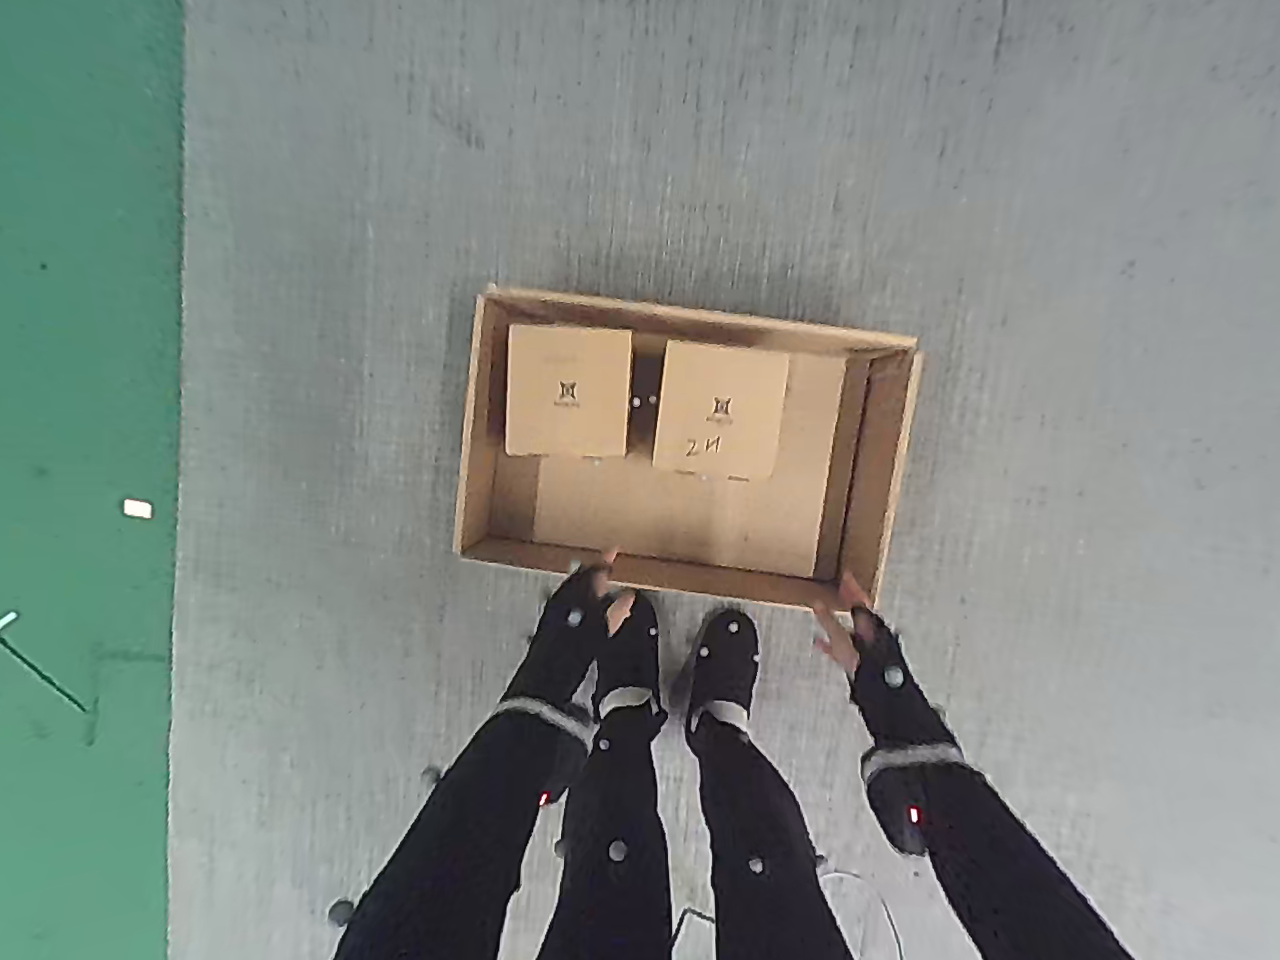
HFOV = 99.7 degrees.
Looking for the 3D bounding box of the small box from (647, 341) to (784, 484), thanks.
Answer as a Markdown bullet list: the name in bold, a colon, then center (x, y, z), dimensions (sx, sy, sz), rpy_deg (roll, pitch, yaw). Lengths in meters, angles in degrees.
- **small box**: center (0.104, -0.097, 0.802), dimensions (0.168, 0.176, 0.179), rpy_deg (7, 96, 3)
